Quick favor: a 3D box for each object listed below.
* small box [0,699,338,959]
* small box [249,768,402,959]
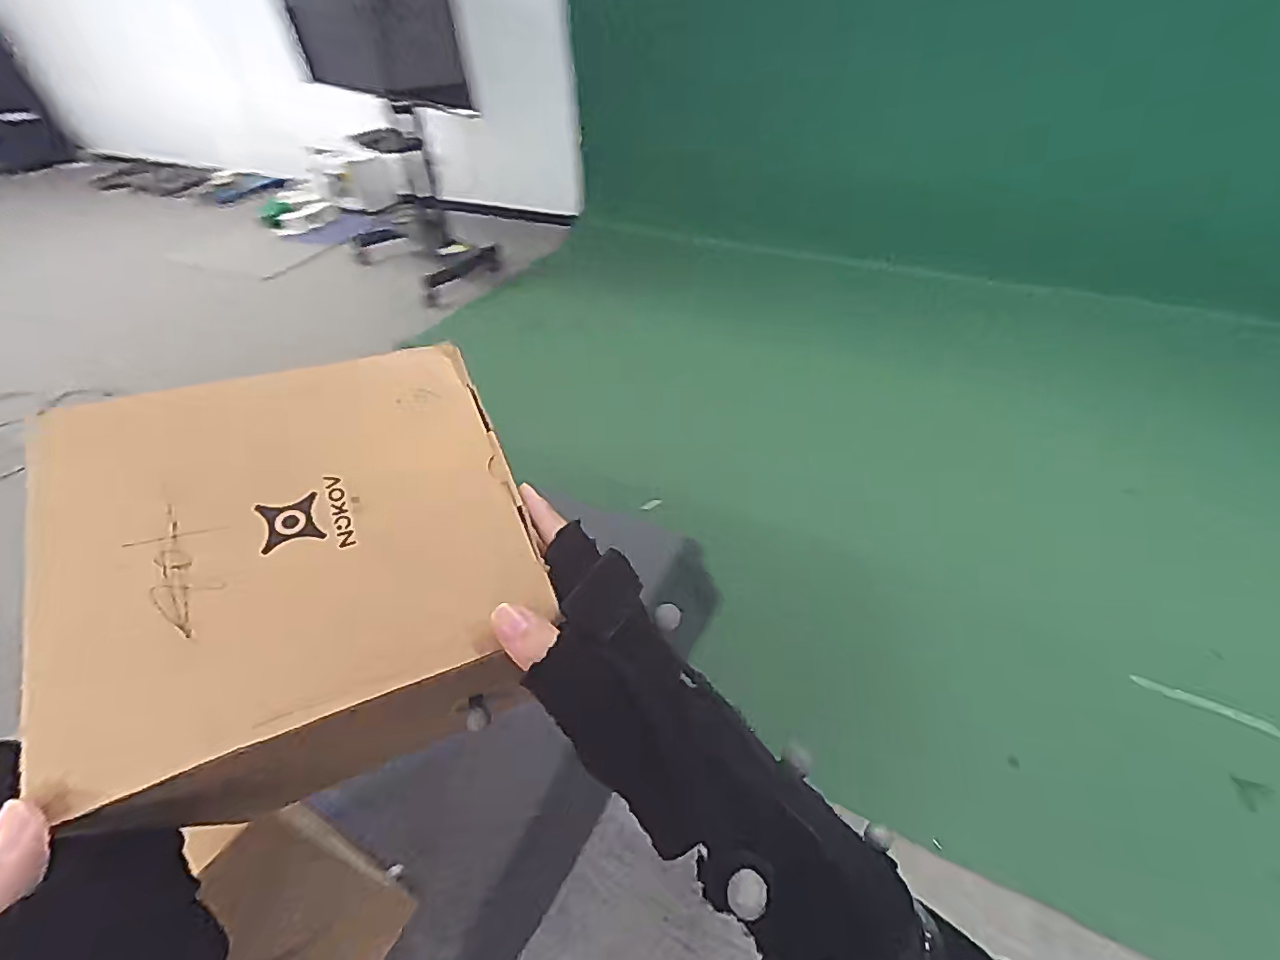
[{"bbox_3d":[-0.356,0.305,0.392,0.168,0.176,0.179,18,47,22],"label":"small box"},{"bbox_3d":[-0.353,0.420,0.505,0.168,0.176,0.179,19,48,25],"label":"small box"}]
